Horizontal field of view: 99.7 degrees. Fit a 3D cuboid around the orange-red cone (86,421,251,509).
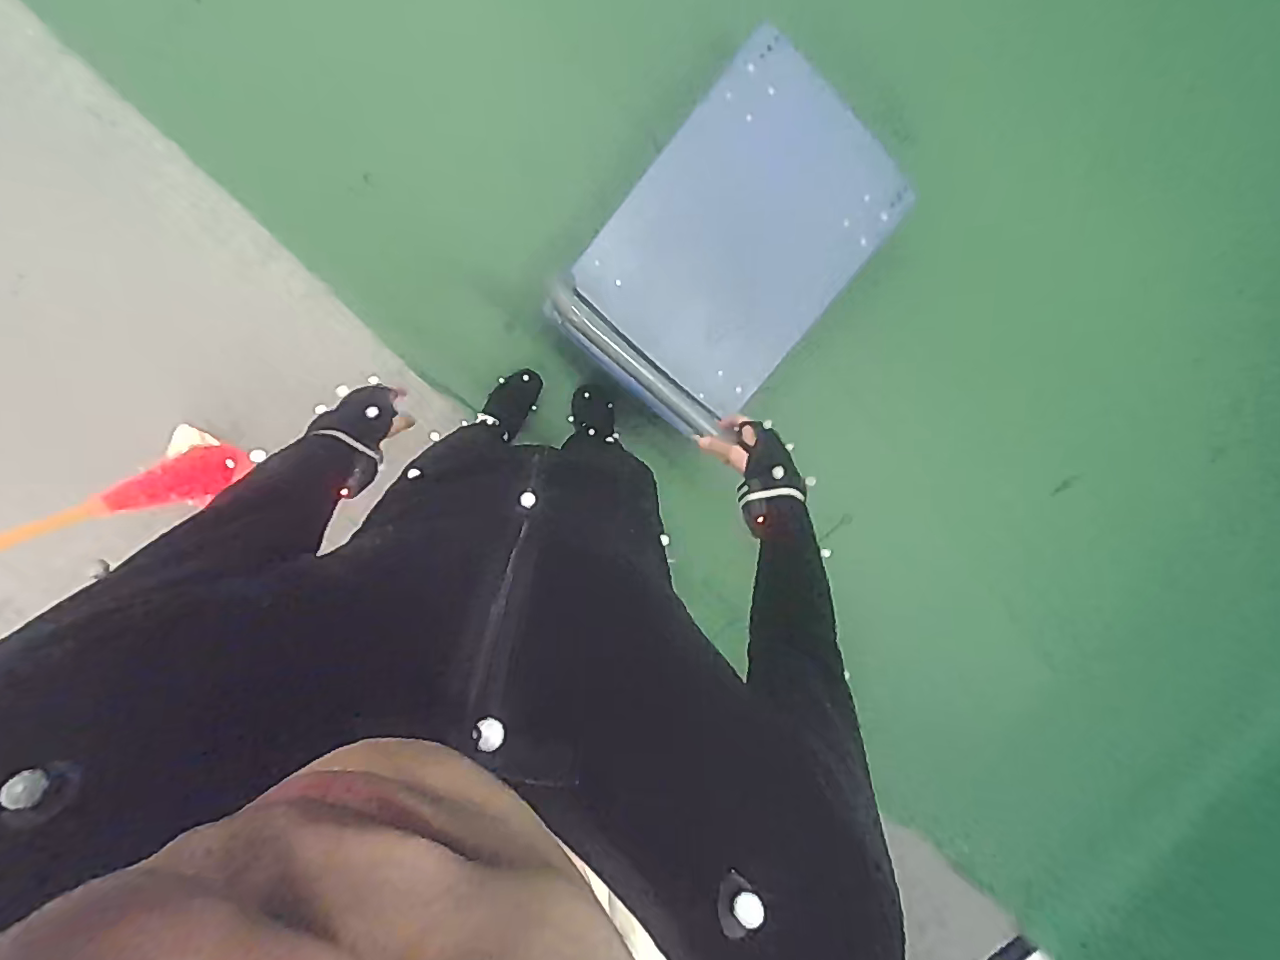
[{"bbox_3d":[-1.182,0.000,1.318,0.199,0.360,0.198,31,97,-12],"label":"orange-red cone"}]
